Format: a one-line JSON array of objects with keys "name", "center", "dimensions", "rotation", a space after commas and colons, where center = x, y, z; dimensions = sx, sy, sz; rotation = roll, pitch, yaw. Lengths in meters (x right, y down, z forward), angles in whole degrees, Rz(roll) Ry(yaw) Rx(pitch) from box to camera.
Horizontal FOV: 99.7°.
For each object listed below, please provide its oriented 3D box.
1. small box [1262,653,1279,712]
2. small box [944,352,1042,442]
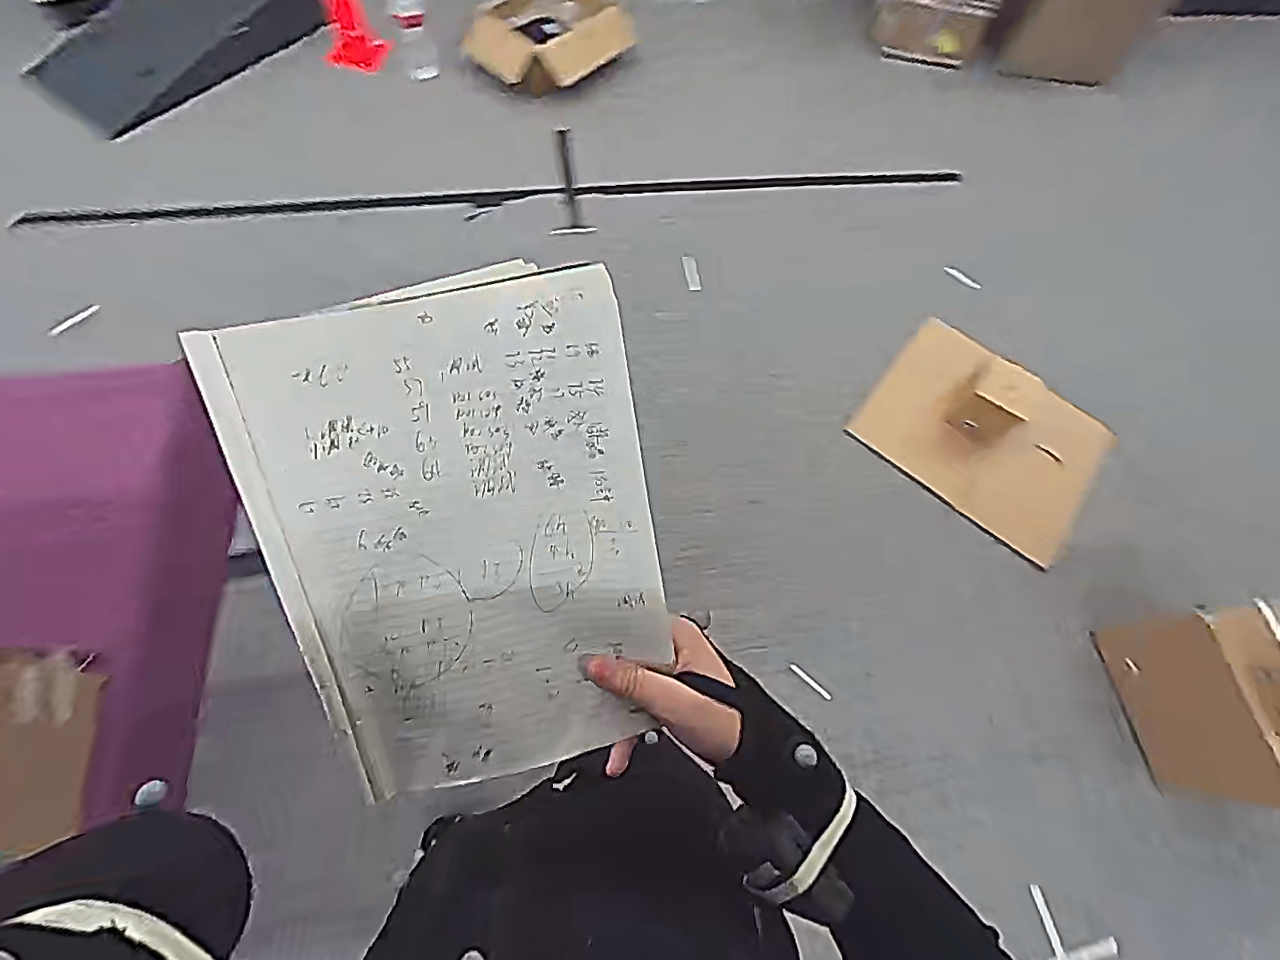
[{"name": "small box", "center": [1.426, 0.426, 1.081], "dimensions": [0.179, 0.176, 0.168], "rotation": [-2, 67, -6]}, {"name": "small box", "center": [1.078, -0.250, 1.663], "dimensions": [0.168, 0.176, 0.179], "rotation": [31, 69, 8]}]
